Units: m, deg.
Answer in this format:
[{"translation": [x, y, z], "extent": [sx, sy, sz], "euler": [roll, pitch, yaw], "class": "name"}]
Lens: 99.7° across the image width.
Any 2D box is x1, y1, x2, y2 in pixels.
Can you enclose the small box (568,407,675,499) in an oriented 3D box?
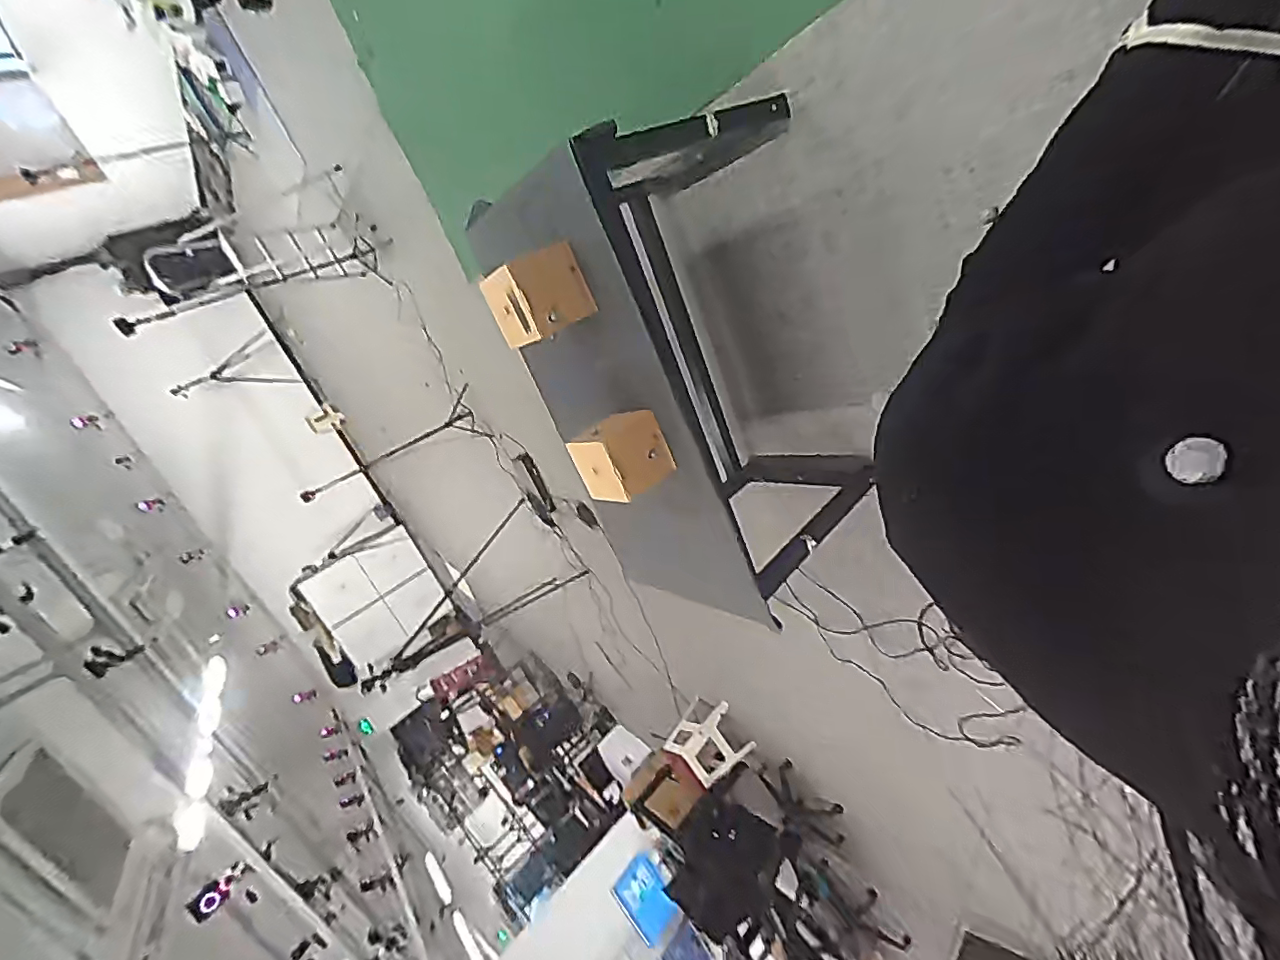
[{"translation": [-0.044, -0.069, 1.352], "extent": [0.179, 0.176, 0.168], "euler": [1, 122, 53], "class": "small box"}]
